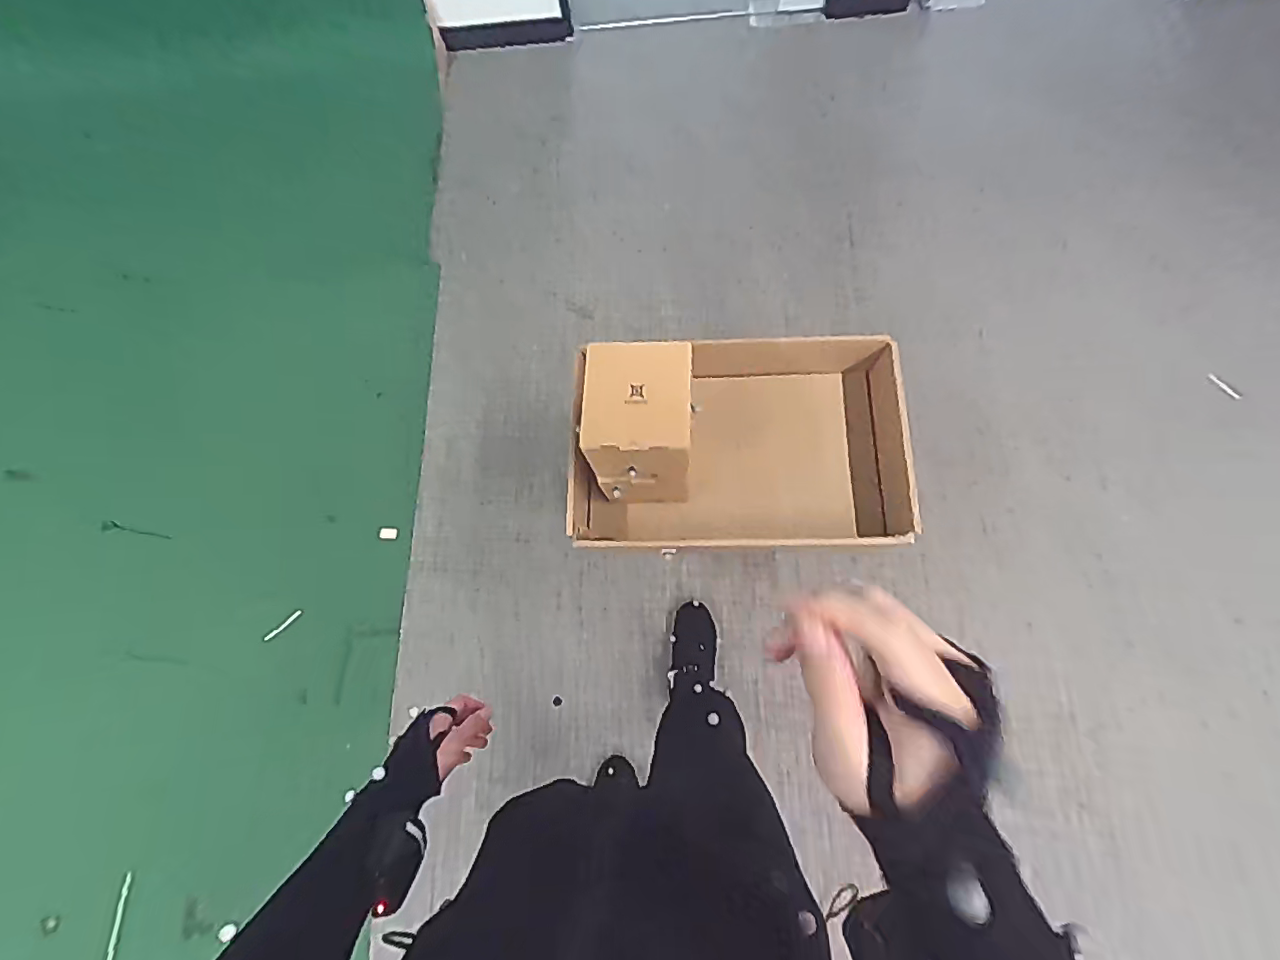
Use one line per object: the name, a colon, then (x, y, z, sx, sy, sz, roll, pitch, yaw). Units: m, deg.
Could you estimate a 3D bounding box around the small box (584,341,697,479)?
small box: (0.007, -0.111, 0.896, 0.168, 0.176, 0.179, 1, 74, 5)
